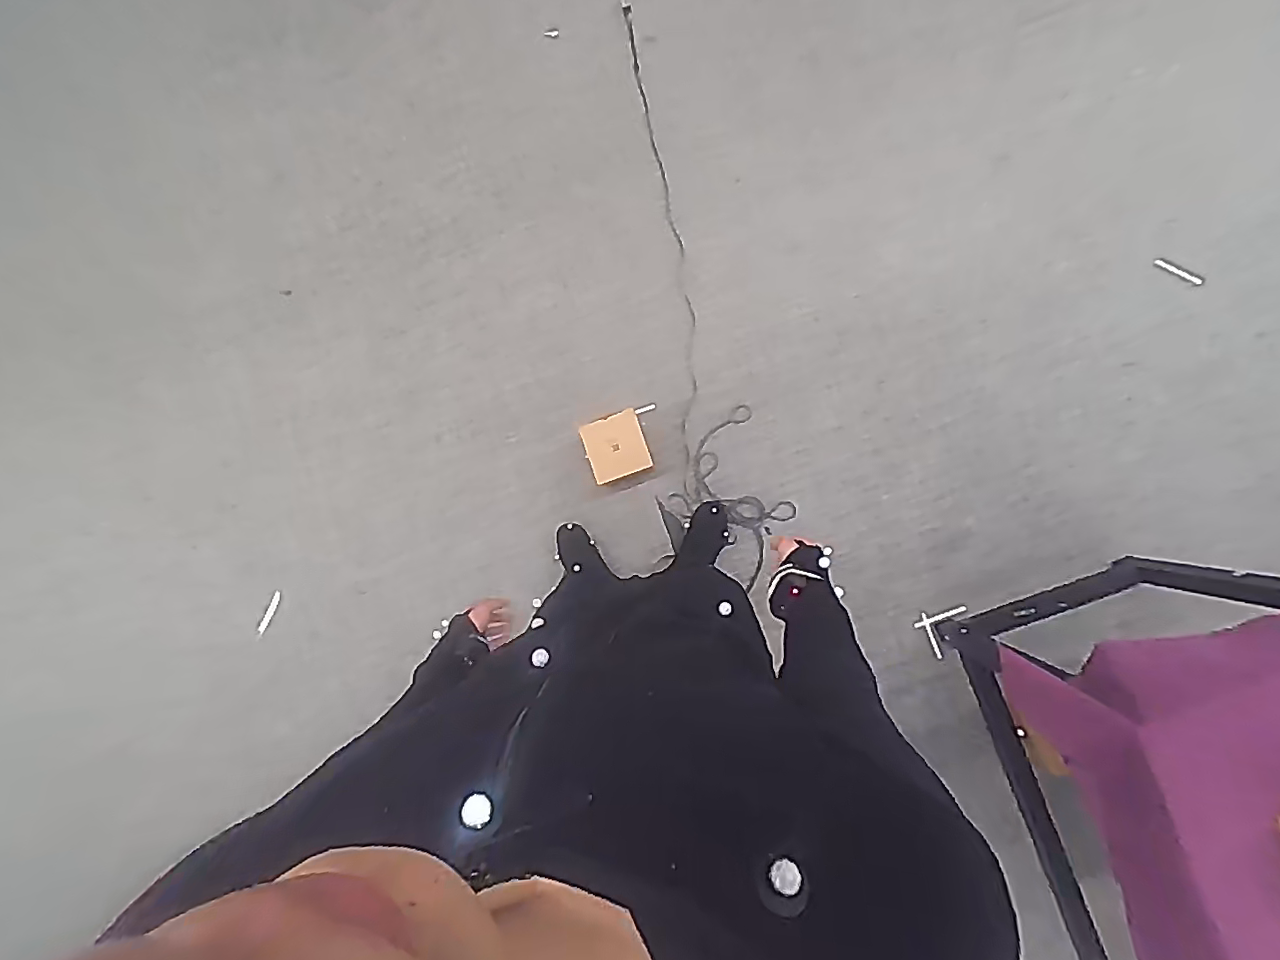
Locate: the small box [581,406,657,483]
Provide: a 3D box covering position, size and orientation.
[{"bbox_3d":[-0.056,-0.095,1.570,0.168,0.176,0.179,-19,87,5],"label":"small box"}]
